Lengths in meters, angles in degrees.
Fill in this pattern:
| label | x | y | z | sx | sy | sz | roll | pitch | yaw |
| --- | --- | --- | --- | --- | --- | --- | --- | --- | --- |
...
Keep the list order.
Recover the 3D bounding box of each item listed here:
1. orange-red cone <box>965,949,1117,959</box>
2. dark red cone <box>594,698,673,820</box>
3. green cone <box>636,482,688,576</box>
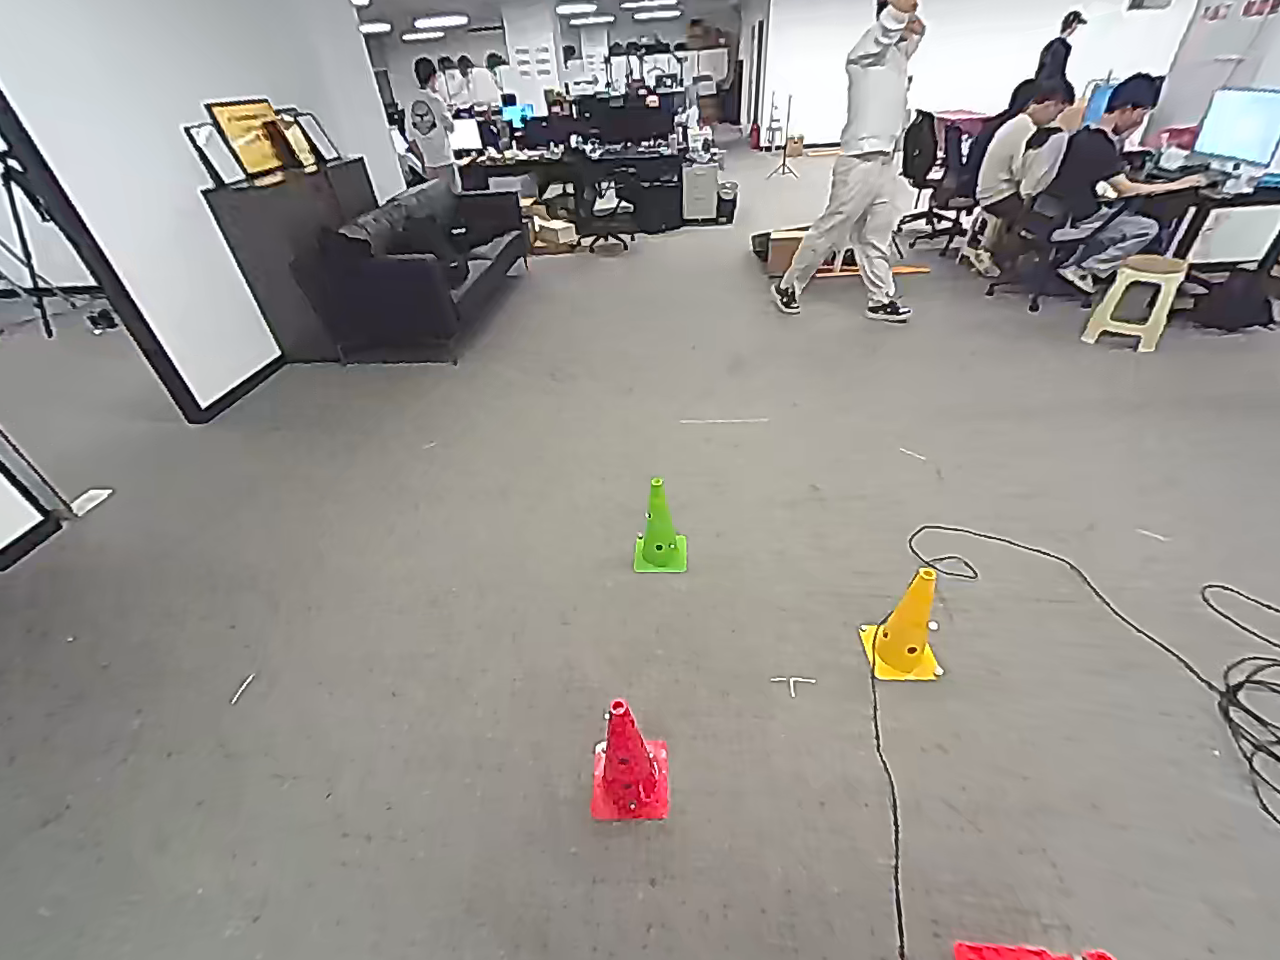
| label | x | y | z | sx | sy | sz | roll | pitch | yaw |
| --- | --- | --- | --- | --- | --- | --- | --- | --- | --- |
| orange-red cone | 0.742 | 0.897 | 0.937 | 0.198 | 0.360 | 0.199 | 1 | 36 | 6 |
| dark red cone | -0.027 | 0.652 | 1.319 | 0.202 | 0.394 | 0.201 | -4 | 38 | 2 |
| green cone | 0.078 | 0.164 | 2.003 | 0.202 | 0.368 | 0.200 | 0 | 37 | 4 |
